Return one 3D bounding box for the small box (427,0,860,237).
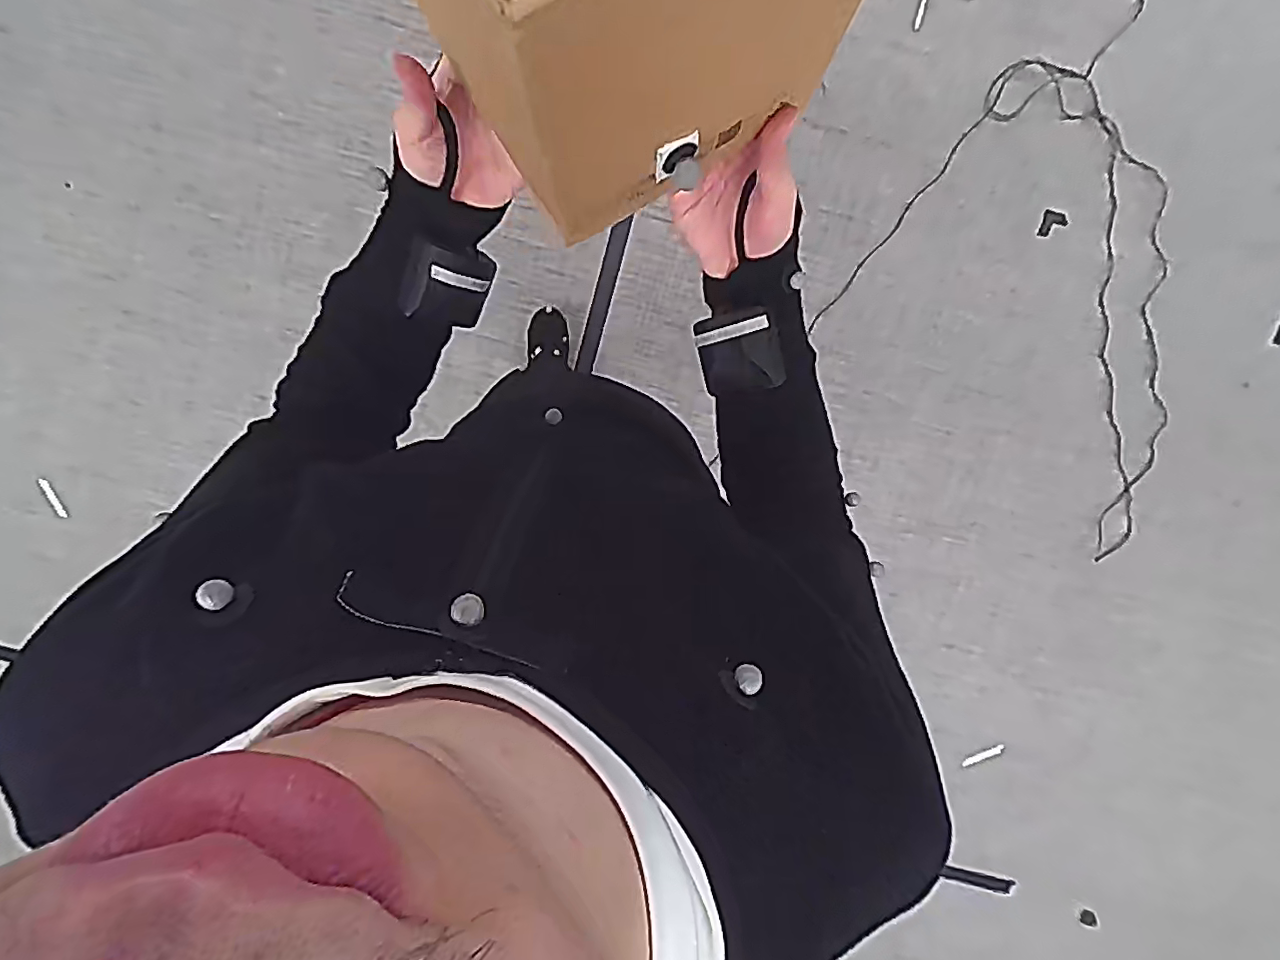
[{"bbox_3d":[-0.011,-0.249,0.239,0.168,0.176,0.179,-32,93,0],"label":"small box"}]
